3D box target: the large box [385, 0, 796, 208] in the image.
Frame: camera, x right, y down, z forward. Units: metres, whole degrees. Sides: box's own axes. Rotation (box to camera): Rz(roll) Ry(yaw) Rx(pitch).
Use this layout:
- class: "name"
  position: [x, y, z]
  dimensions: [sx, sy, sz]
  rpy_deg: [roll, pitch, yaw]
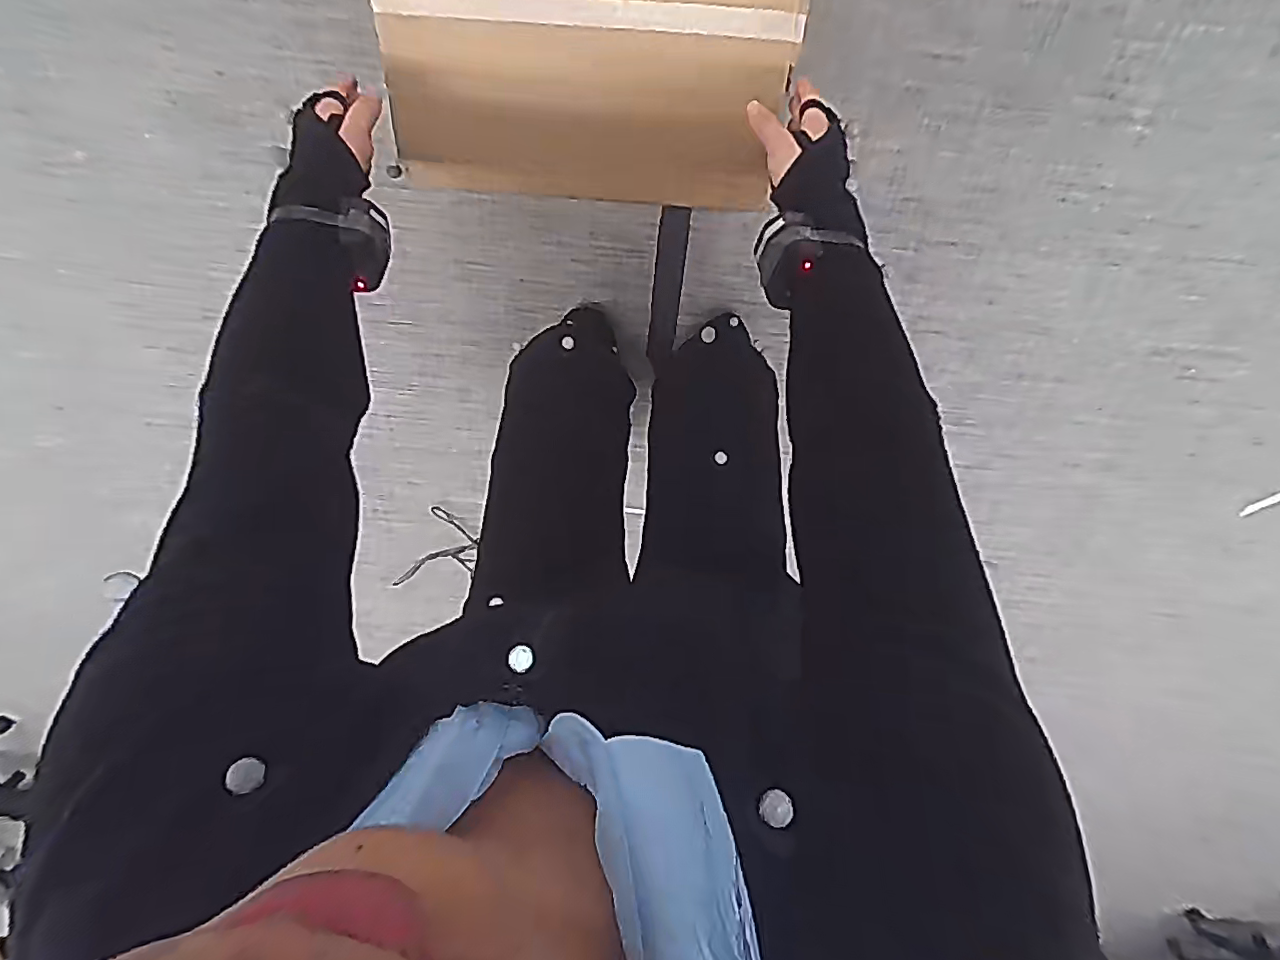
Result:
- class: "large box"
  position: [-0.040, -0.528, 0.645]
  dimensions: [0.408, 0.320, 0.320]
  rpy_deg: [5, 123, 2]
